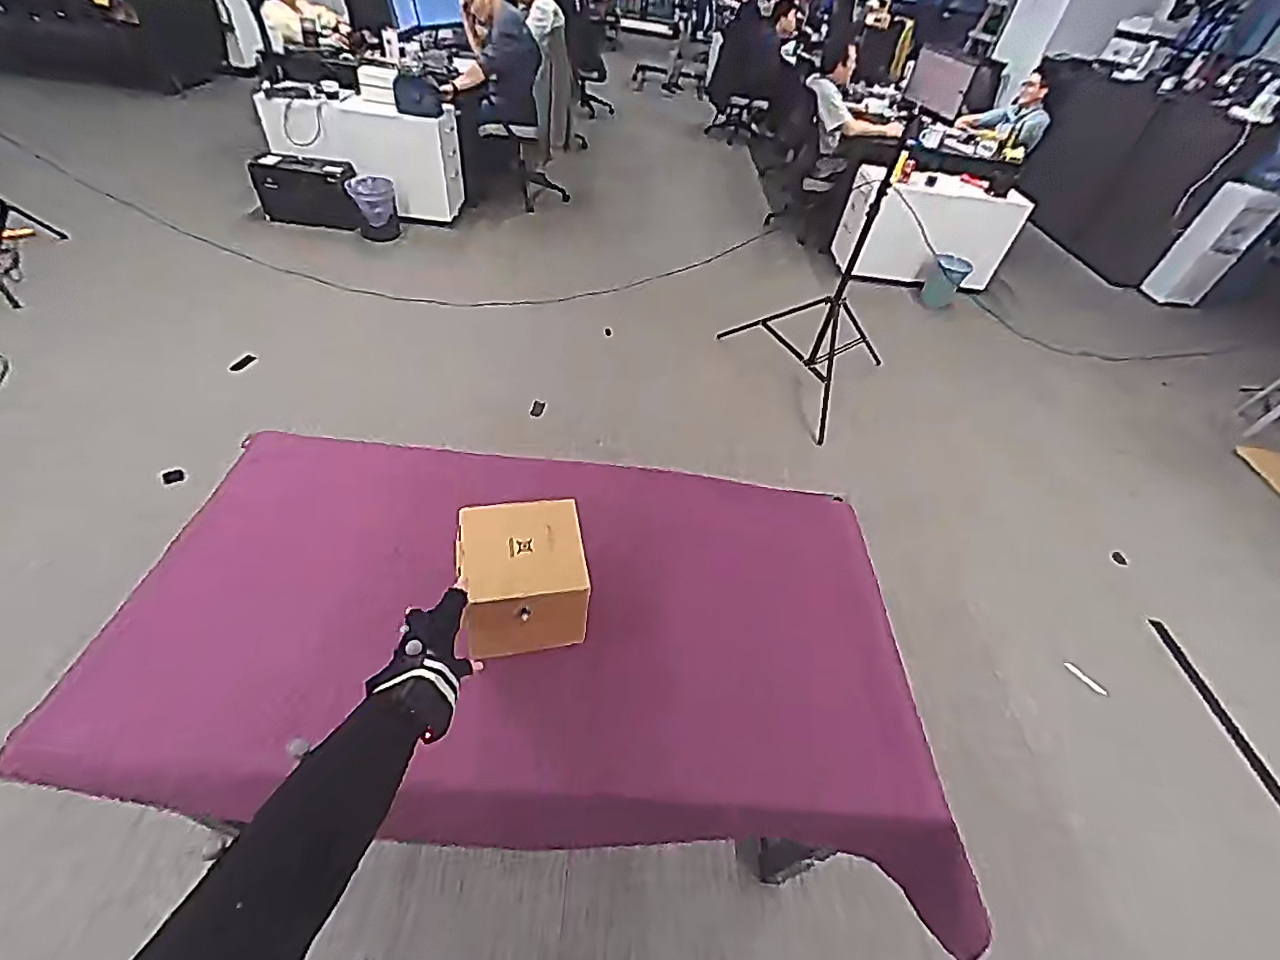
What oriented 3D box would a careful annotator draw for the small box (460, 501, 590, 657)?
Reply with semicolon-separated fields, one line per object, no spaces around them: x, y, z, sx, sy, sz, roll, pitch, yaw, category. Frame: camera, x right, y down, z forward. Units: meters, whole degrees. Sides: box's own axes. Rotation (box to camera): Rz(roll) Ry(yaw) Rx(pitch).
-0.177;0.154;0.835;0.179;0.176;0.168;-5;48;-14;small box
